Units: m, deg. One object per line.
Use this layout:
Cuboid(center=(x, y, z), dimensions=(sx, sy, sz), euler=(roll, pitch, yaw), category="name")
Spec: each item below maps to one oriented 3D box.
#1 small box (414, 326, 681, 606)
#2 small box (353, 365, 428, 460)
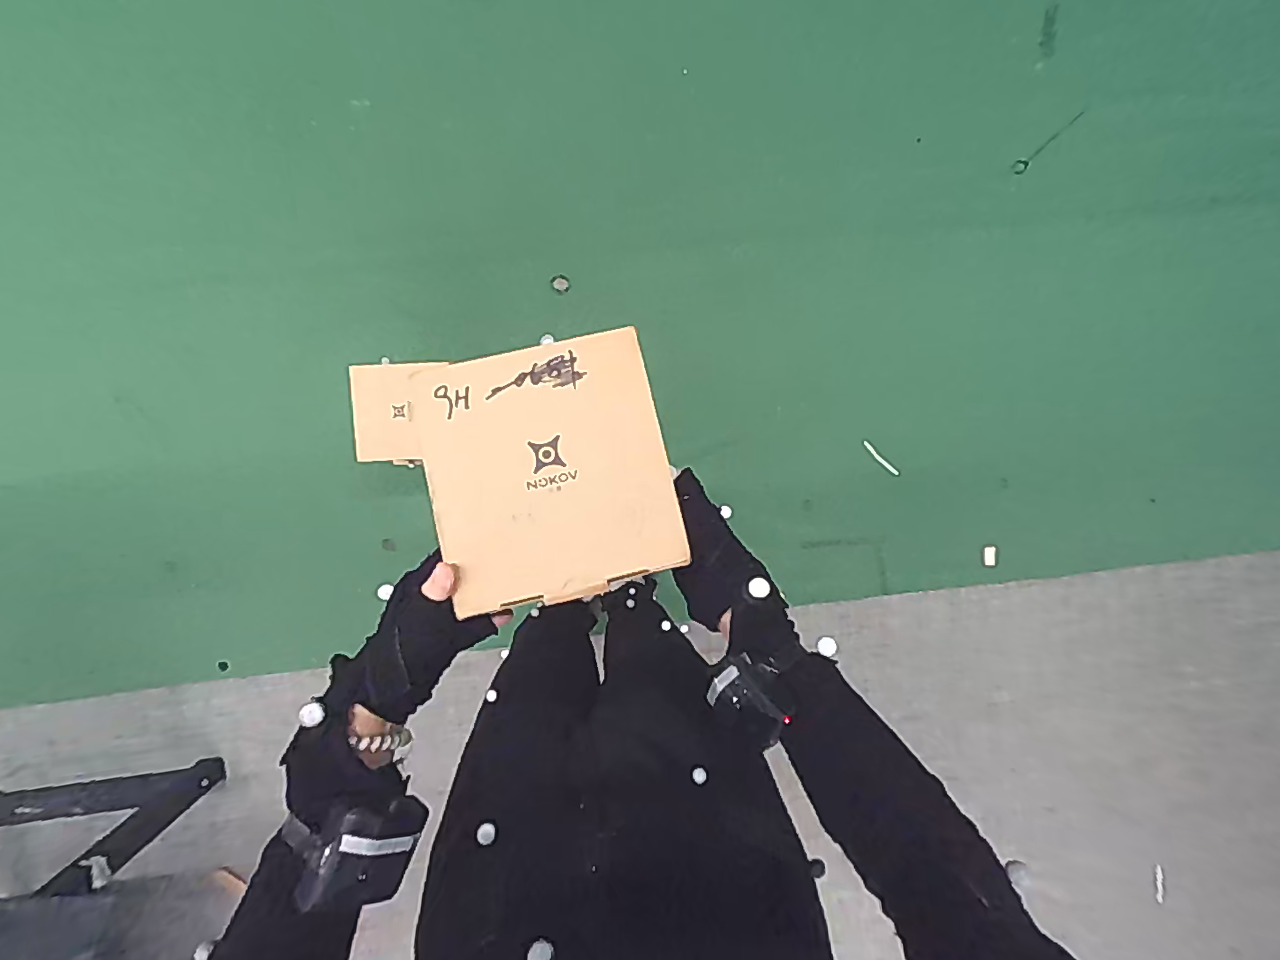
Cuboid(center=(-0.067, -0.005, 0.461), dimensions=(0.168, 0.176, 0.179), euler=(-12, 84, -3), category="small box")
Cuboid(center=(-0.406, -0.120, 1.010), dimensions=(0.179, 0.176, 0.168), euler=(-2, 94, -4), category="small box")
